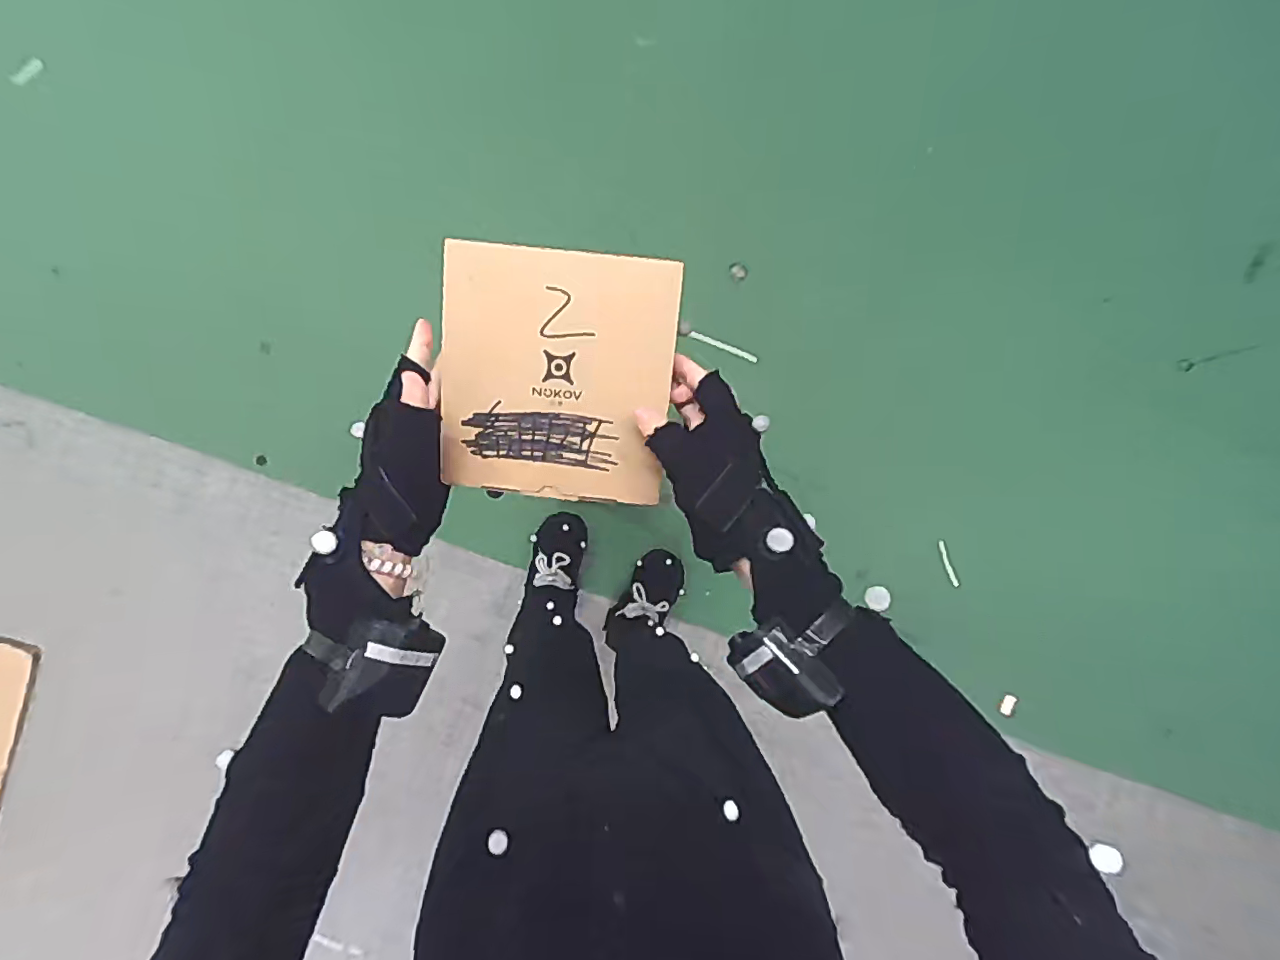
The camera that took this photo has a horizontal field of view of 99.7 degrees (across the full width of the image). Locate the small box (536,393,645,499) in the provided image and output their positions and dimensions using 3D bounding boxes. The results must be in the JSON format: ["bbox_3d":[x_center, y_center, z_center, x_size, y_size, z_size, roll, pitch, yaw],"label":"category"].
[{"bbox_3d":[-0.105,-0.070,1.190,0.179,0.176,0.168,27,90,-2],"label":"small box"}]
